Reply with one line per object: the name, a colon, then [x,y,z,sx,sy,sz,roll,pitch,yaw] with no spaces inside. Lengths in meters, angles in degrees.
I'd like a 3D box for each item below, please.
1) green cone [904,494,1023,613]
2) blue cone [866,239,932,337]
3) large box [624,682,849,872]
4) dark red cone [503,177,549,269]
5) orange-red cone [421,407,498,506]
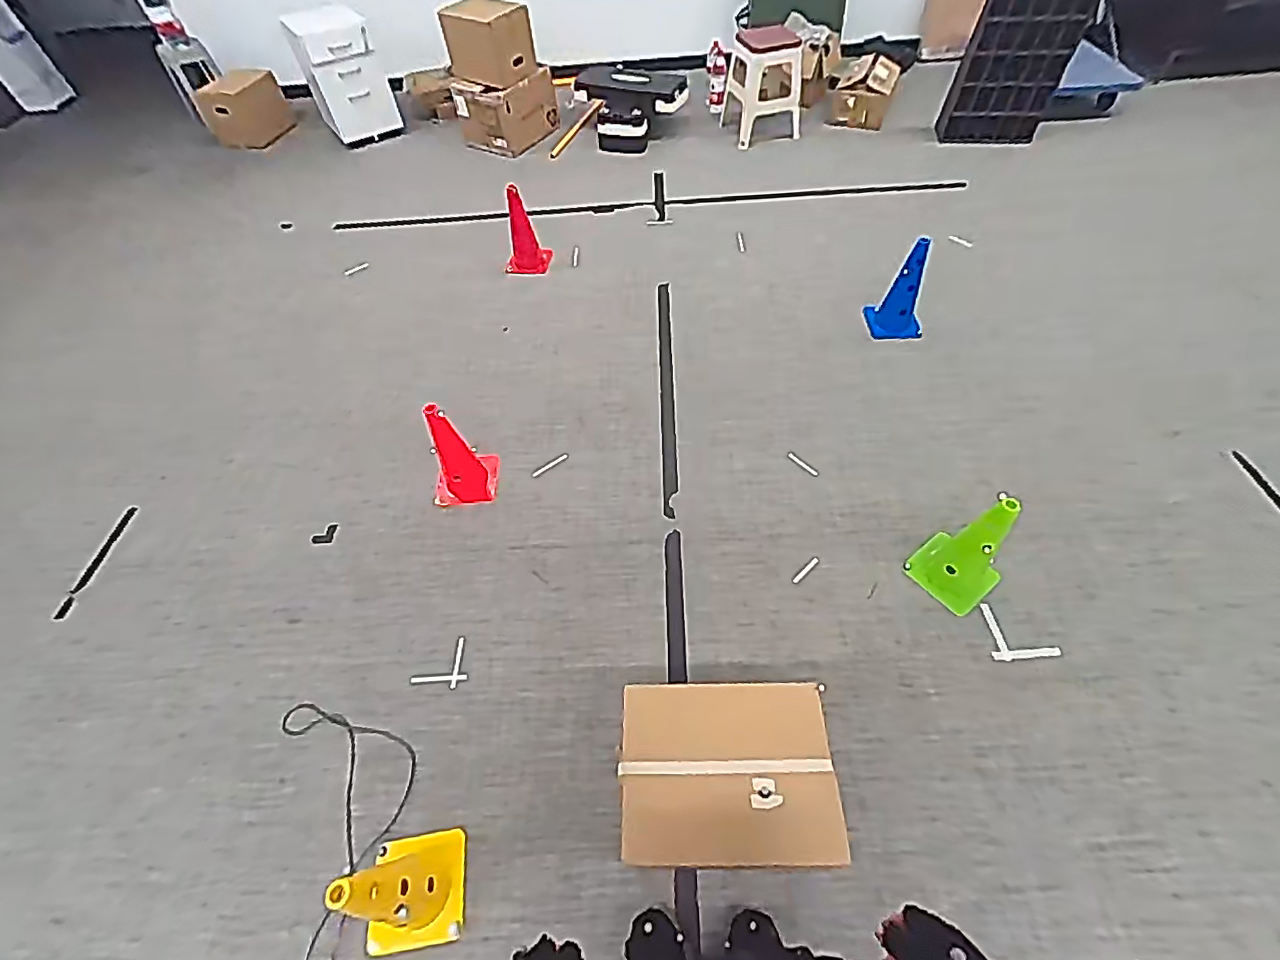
green cone: [0.886,0.159,1.412,0.202,0.368,0.200,-33,59,-20]
blue cone: [1.024,-0.744,2.080,0.192,0.380,0.193,1,54,3]
large box: [0.174,0.642,1.159,0.408,0.320,0.320,-2,53,2]
dark red cone: [-0.551,-1.162,2.449,0.201,0.394,0.202,3,54,5]
orange-red cone: [-0.601,-0.095,1.707,0.198,0.360,0.199,-5,55,1]
